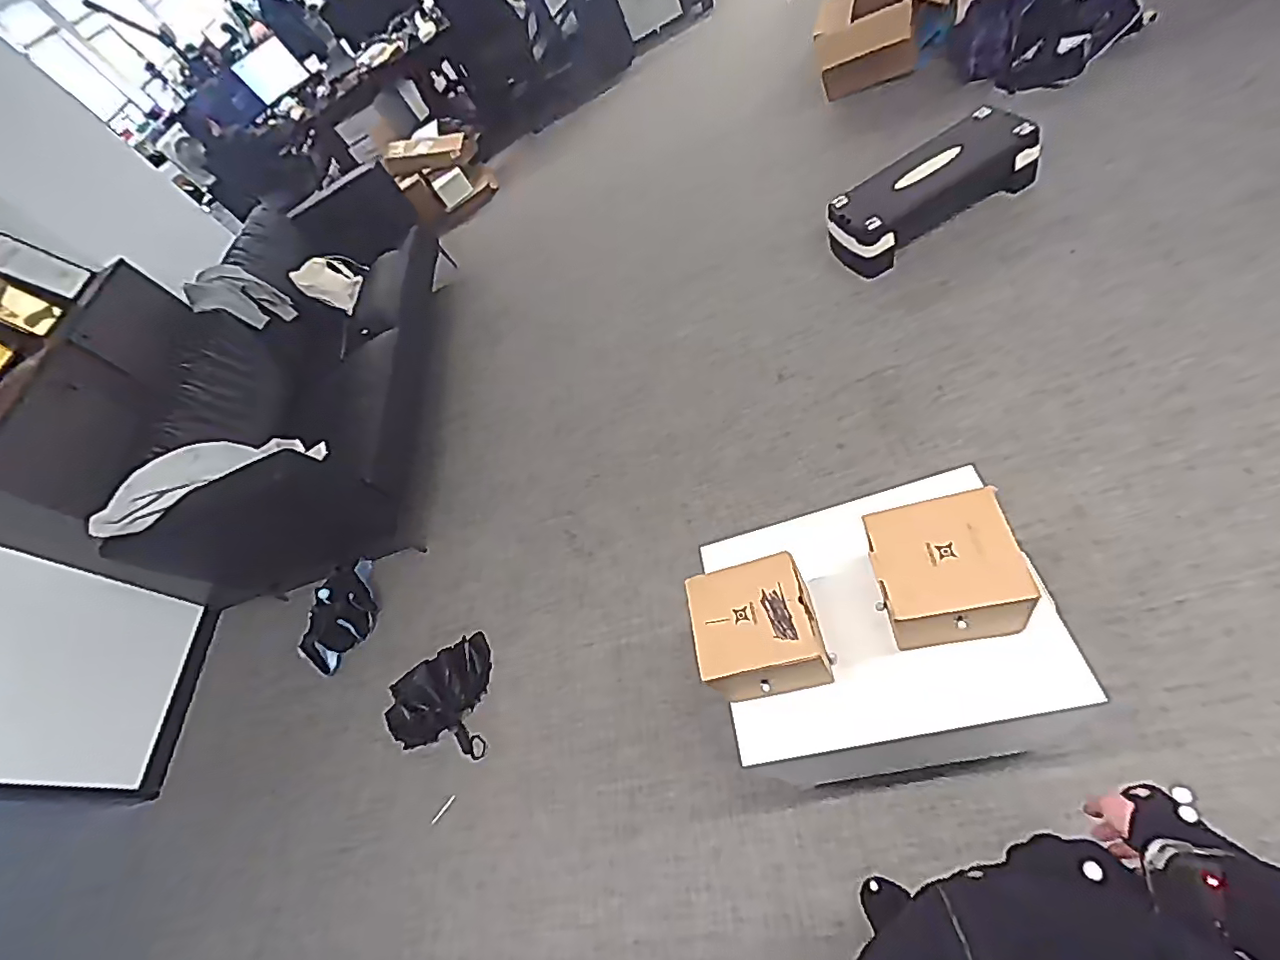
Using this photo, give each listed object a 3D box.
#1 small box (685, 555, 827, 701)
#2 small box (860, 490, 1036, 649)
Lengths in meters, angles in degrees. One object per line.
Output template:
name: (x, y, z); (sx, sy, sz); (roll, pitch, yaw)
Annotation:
small box: (0.191, 0.244, 0.869); (0.179, 0.176, 0.168); (-19, 52, 17)
small box: (0.445, 0.141, 0.802); (0.179, 0.176, 0.168); (-16, 55, 18)
